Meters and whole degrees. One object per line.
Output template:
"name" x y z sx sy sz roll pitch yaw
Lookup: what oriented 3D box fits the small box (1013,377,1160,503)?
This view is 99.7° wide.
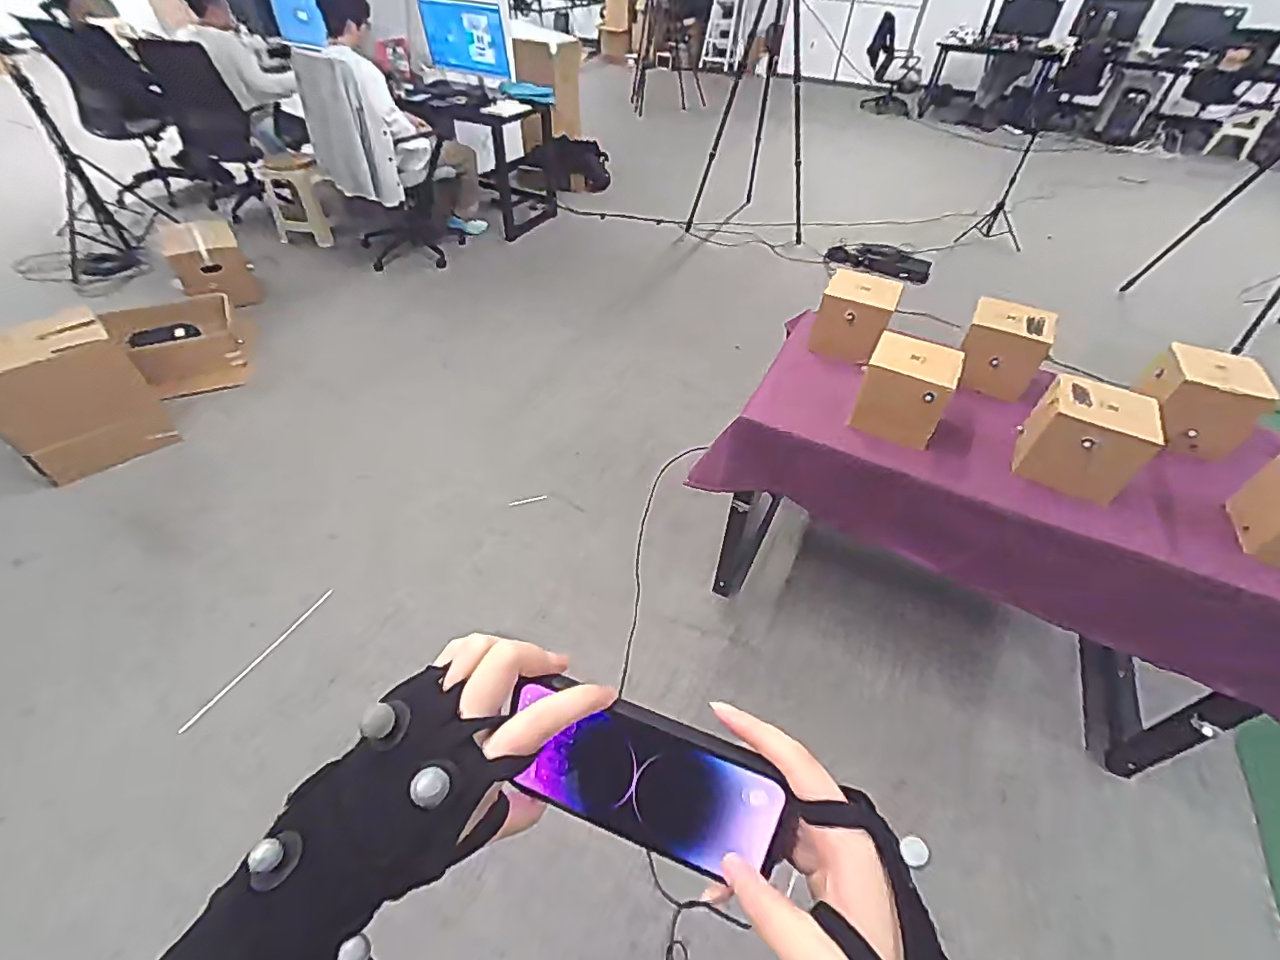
"small box" 0.907 -0.080 1.113 0.179 0.176 0.168 25 49 20

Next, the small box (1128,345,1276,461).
"small box" 1.243 -0.174 1.222 0.168 0.176 0.179 20 48 17

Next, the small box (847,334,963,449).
"small box" 0.589 -0.196 1.213 0.179 0.176 0.168 24 48 18

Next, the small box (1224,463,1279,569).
"small box" 1.240 0.071 0.978 0.179 0.176 0.168 21 47 17
